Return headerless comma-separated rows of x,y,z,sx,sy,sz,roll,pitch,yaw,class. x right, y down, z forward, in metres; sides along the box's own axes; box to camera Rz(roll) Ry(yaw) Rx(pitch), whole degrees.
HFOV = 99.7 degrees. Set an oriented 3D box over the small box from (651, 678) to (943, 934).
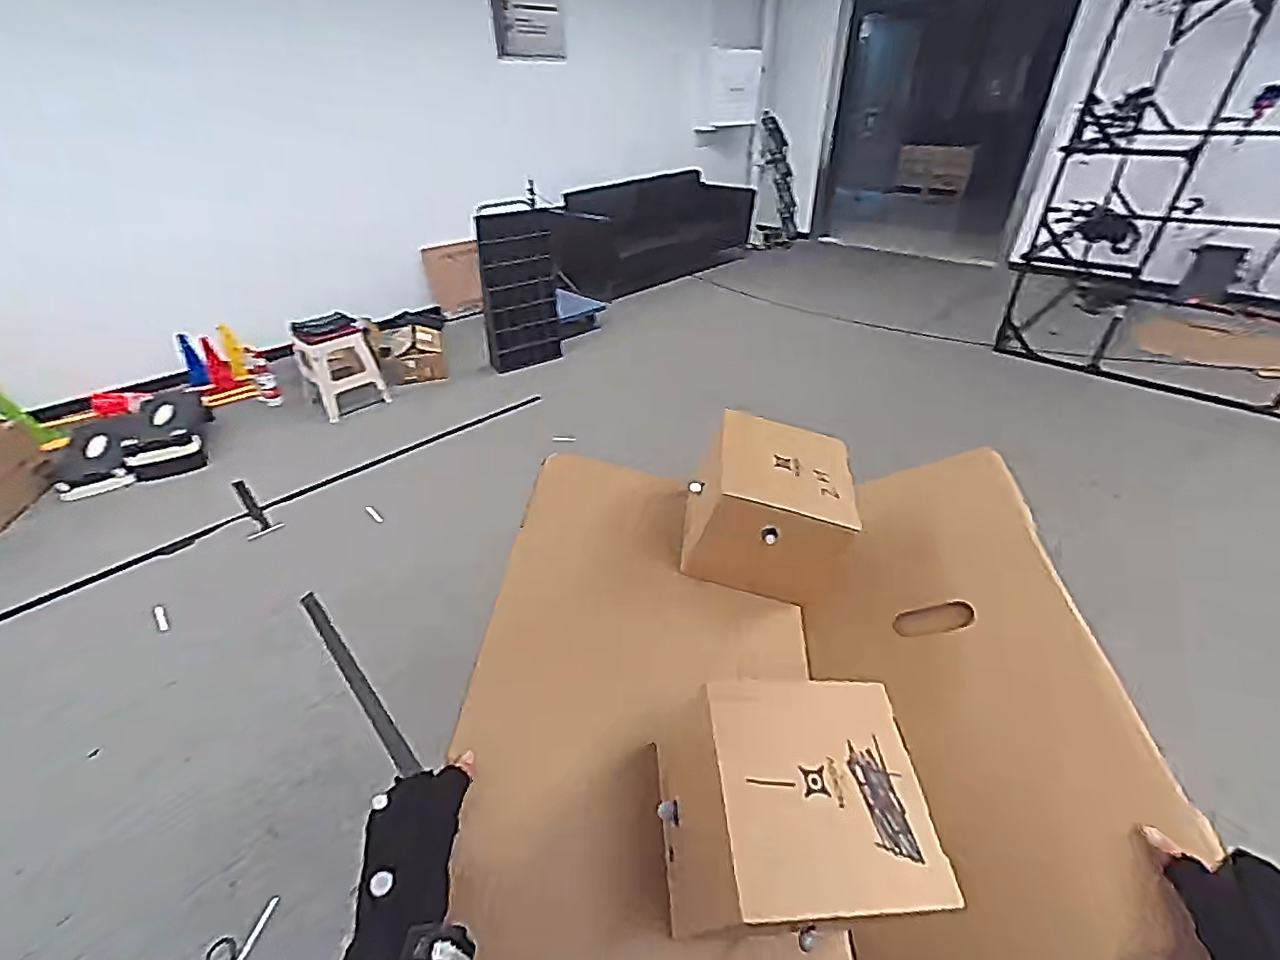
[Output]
0.119,0.295,0.492,0.179,0.176,0.168,5,46,-13,small box
